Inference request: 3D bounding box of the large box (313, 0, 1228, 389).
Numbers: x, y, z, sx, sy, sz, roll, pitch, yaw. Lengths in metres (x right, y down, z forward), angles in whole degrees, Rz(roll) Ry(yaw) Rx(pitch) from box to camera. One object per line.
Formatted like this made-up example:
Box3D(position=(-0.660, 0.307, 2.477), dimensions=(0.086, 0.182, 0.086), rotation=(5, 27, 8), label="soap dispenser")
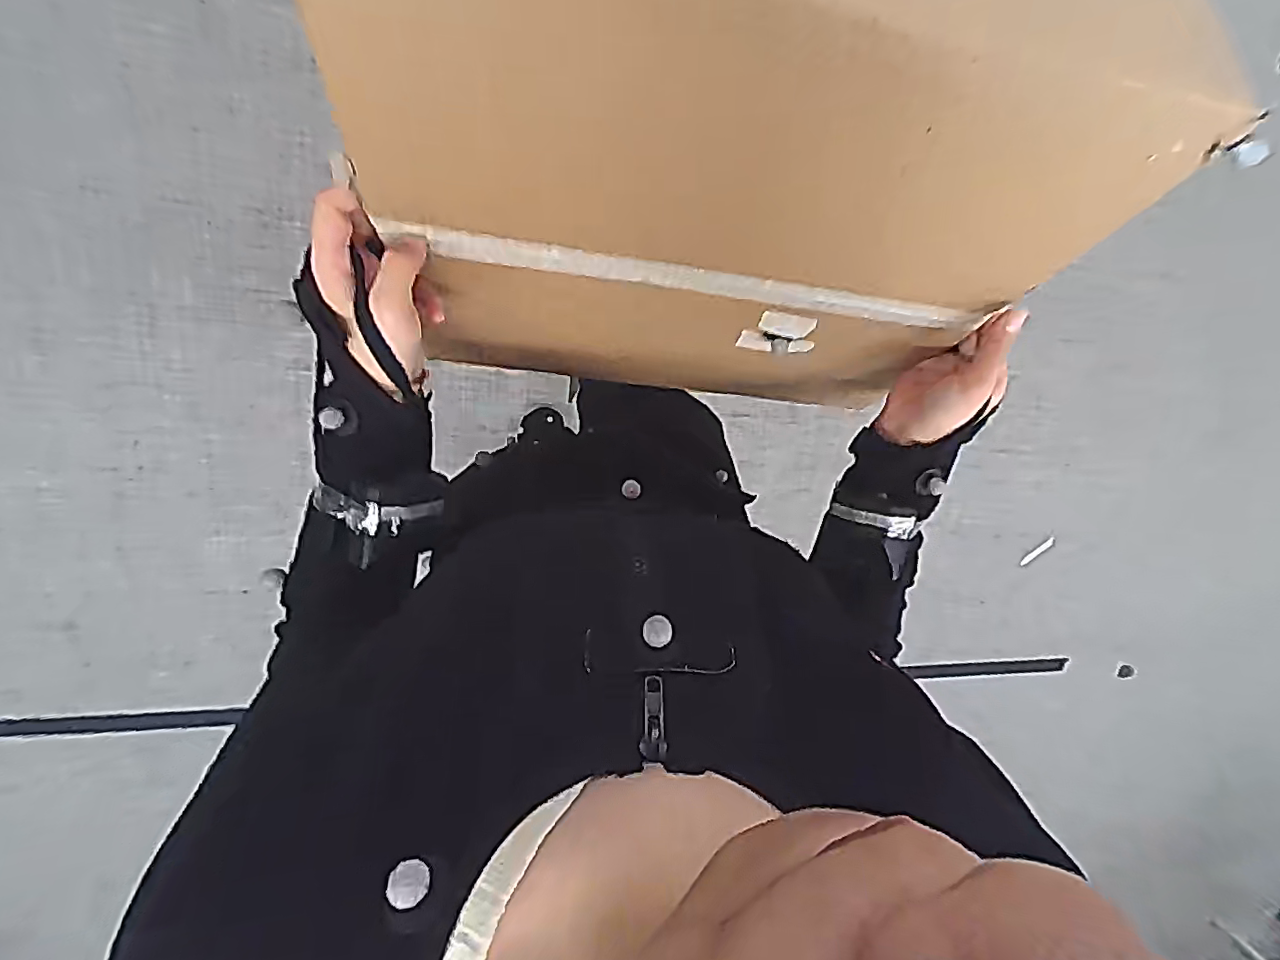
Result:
Box3D(position=(0.044, -0.287, 0.395), dimensions=(0.408, 0.320, 0.320), rotation=(4, 73, -11), label="large box")
